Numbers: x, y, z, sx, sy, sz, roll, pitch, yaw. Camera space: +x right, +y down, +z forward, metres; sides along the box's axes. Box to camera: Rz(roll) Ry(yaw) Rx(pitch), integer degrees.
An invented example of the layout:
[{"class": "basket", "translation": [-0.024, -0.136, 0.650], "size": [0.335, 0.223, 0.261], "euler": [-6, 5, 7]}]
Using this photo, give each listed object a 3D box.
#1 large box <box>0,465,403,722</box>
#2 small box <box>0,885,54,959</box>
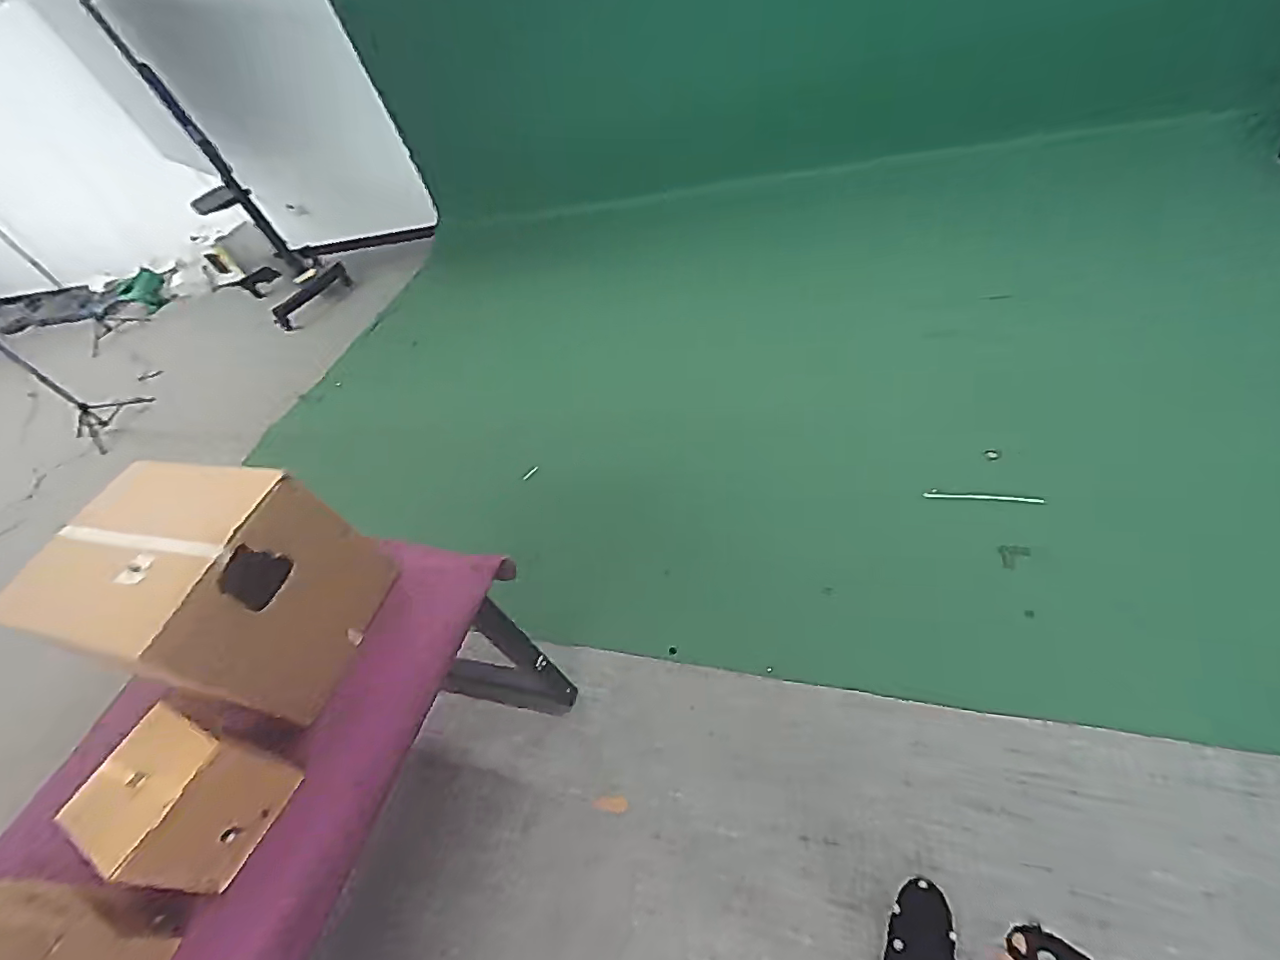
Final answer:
[{"class": "large box", "translation": [-0.728, 0.192, 0.953], "size": [0.408, 0.320, 0.320], "euler": [3, 53, 20]}, {"class": "small box", "translation": [-0.788, 0.519, 0.549], "size": [0.179, 0.176, 0.168], "euler": [4, 52, 22]}]
